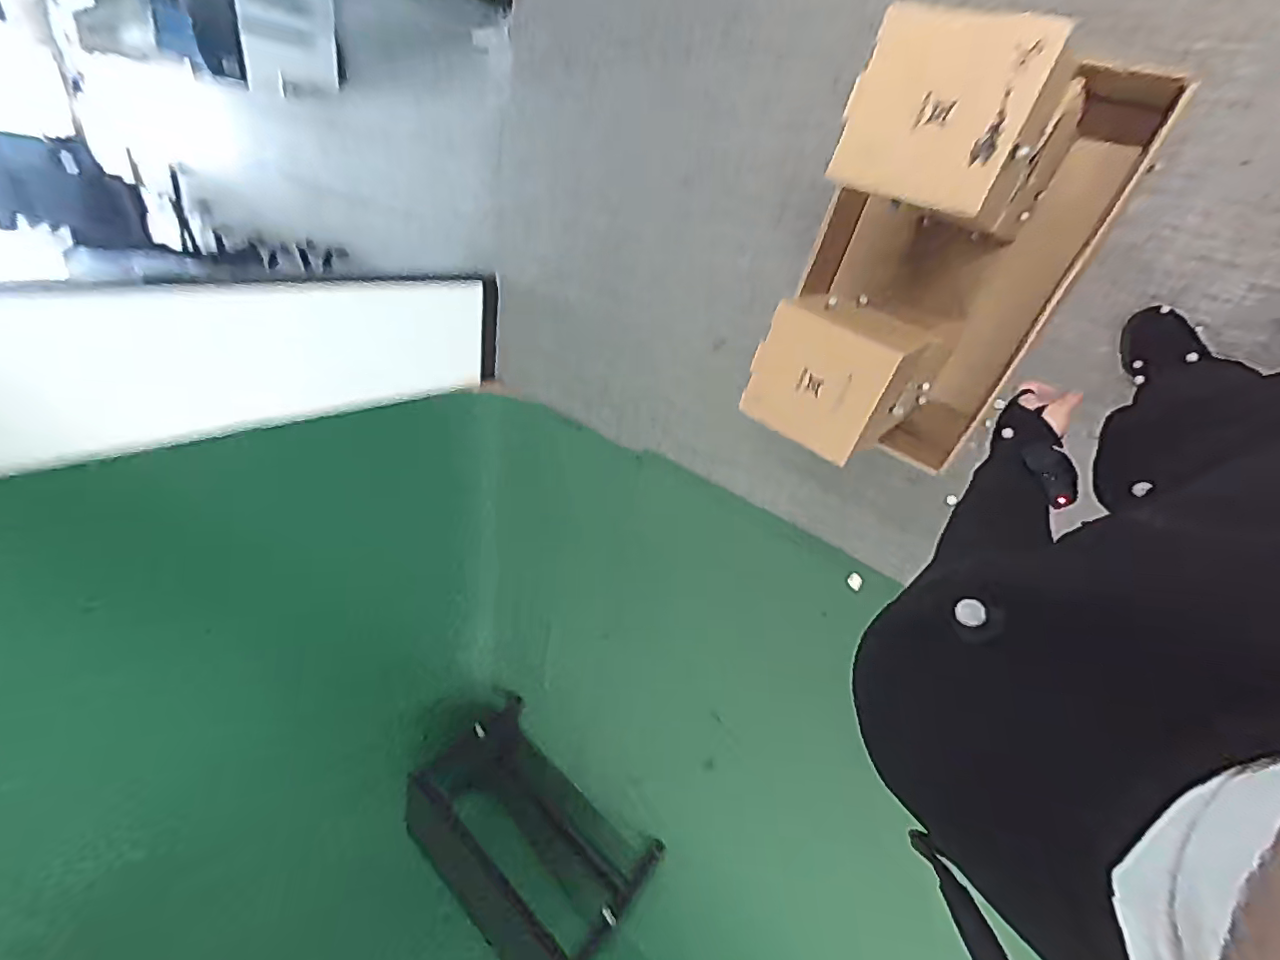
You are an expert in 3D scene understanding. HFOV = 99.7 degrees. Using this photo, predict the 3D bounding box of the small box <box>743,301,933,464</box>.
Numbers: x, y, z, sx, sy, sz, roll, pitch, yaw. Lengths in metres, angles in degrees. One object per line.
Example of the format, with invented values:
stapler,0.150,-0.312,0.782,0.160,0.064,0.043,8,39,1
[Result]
small box,0.286,-0.150,0.784,0.179,0.176,0.168,35,127,26

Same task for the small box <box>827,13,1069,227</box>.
small box,0.355,-0.404,0.629,0.179,0.176,0.168,32,123,27

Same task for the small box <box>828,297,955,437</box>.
small box,0.387,-0.195,0.904,0.179,0.176,0.168,35,127,25
